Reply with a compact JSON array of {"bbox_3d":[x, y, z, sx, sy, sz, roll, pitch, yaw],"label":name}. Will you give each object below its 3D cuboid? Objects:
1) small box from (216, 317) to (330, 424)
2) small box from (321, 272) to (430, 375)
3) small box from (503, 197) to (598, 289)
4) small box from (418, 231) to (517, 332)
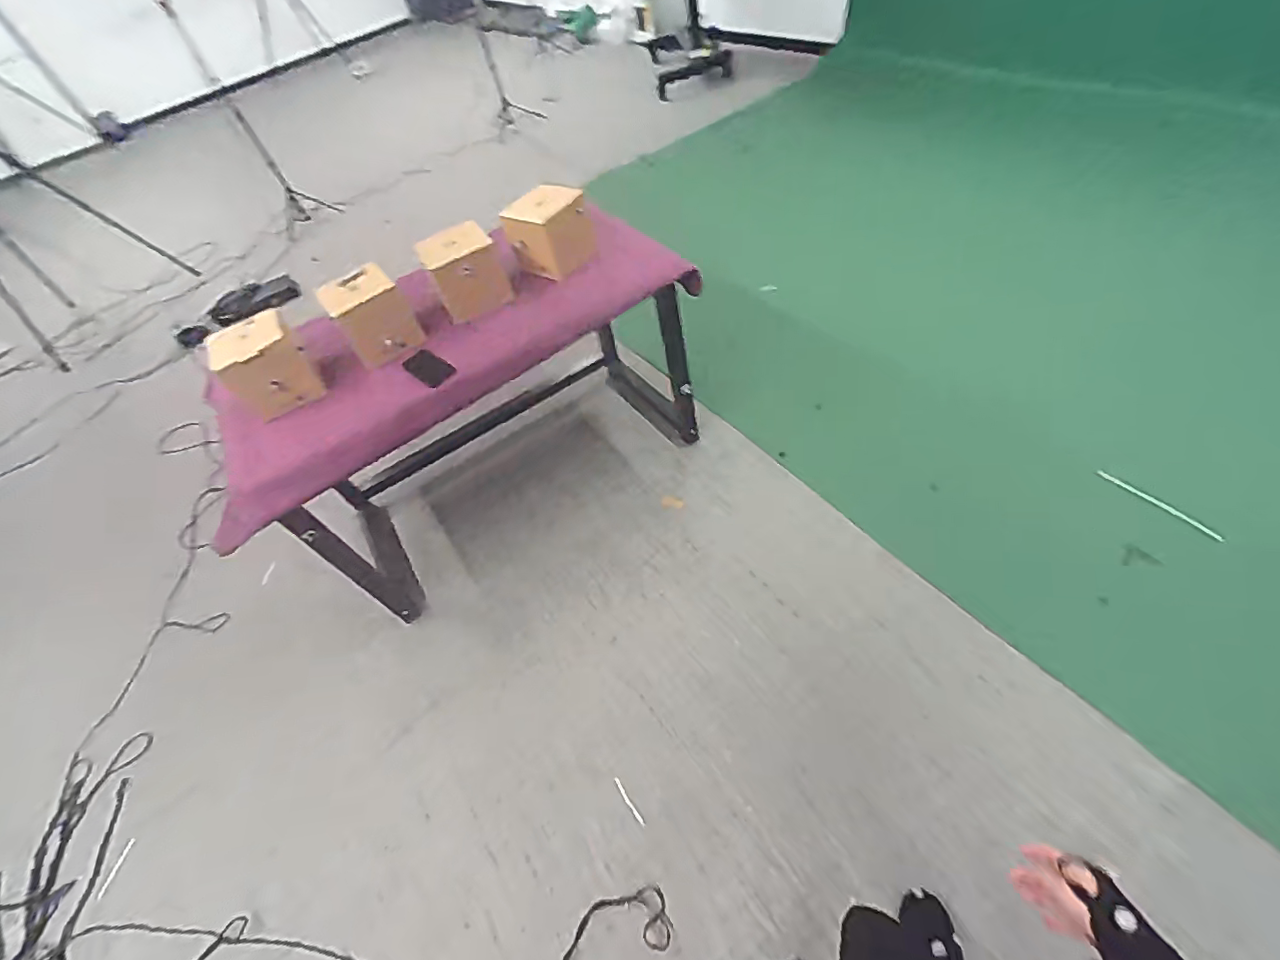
[{"bbox_3d":[-0.898,-0.261,1.332,0.168,0.176,0.179,-31,52,-12],"label":"small box"},{"bbox_3d":[-0.677,-0.400,1.393,0.168,0.176,0.179,-36,53,-15],"label":"small box"},{"bbox_3d":[-0.238,-0.655,1.497,0.168,0.176,0.179,24,60,30],"label":"small box"},{"bbox_3d":[-0.456,-0.527,1.445,0.179,0.176,0.168,-29,52,-11],"label":"small box"}]
